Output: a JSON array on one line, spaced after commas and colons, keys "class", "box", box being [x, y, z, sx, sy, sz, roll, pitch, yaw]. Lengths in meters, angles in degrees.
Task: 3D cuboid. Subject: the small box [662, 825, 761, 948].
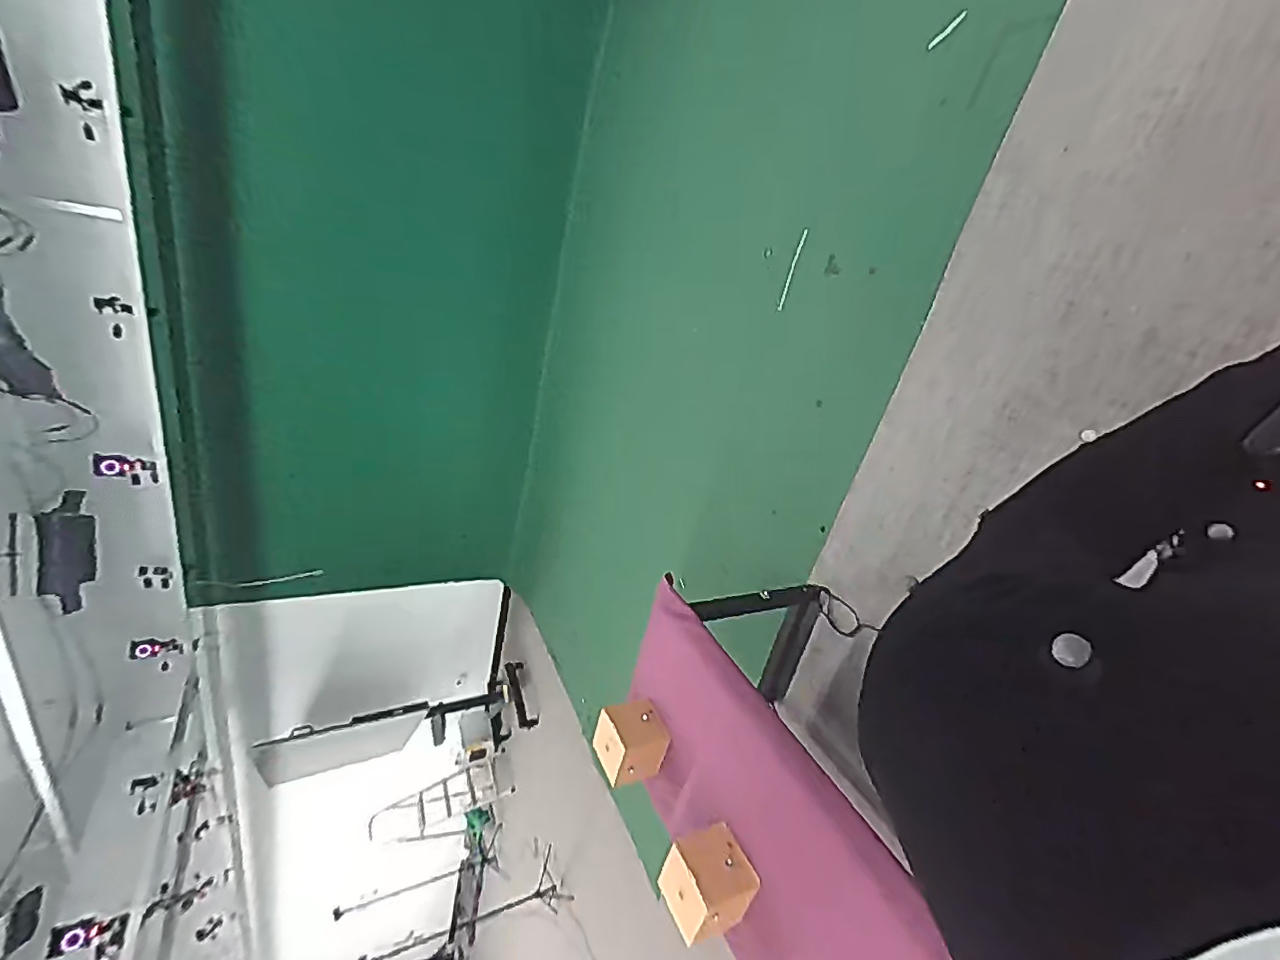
[{"class": "small box", "box": [0.183, 1.040, 1.393, 0.168, 0.176, 0.179, 45, 126, 50]}]

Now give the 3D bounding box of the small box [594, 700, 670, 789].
[{"class": "small box", "box": [-0.024, 0.837, 1.725, 0.168, 0.176, 0.179, 45, 127, 48]}]
